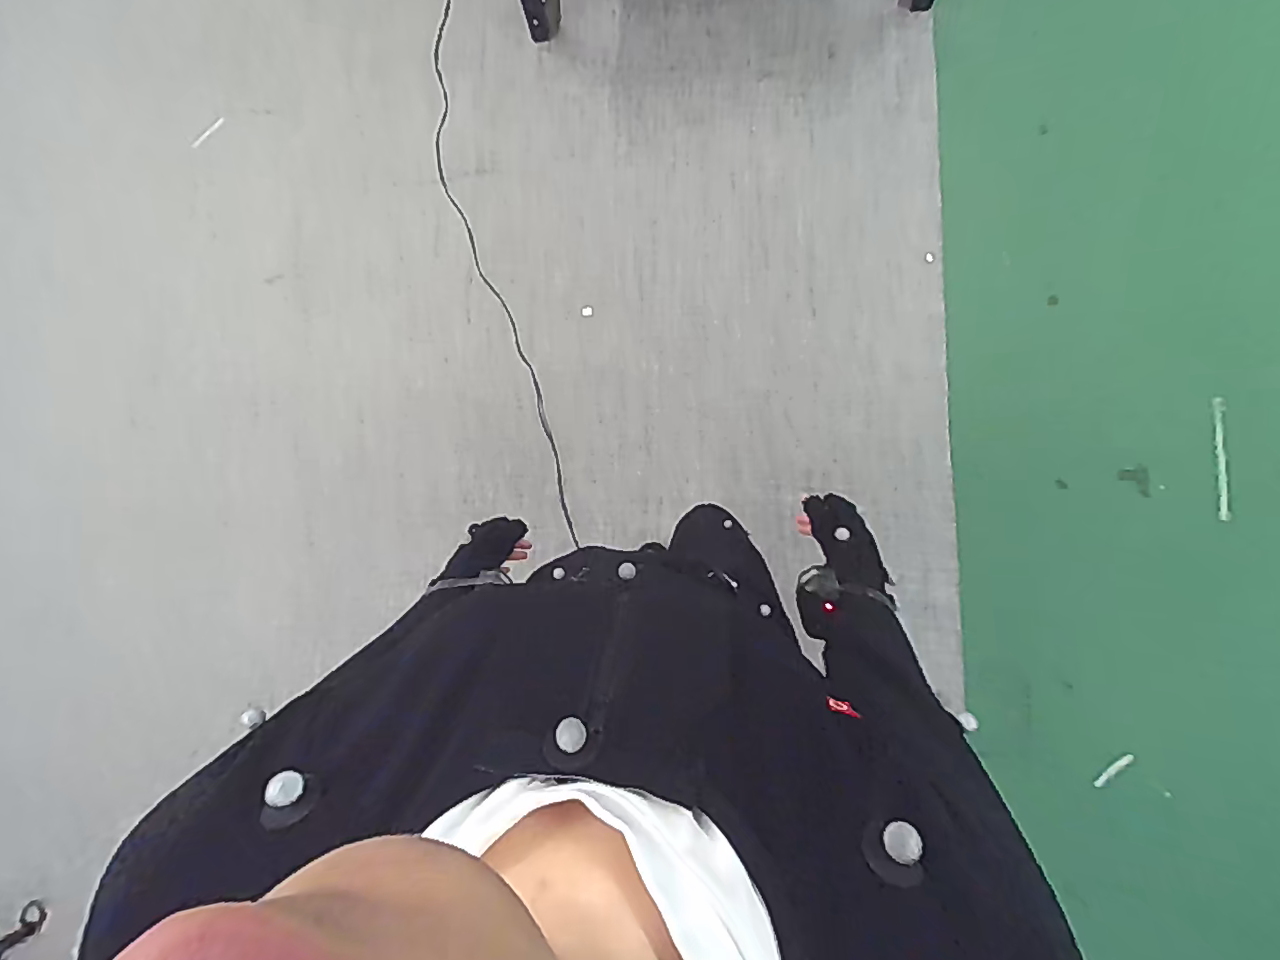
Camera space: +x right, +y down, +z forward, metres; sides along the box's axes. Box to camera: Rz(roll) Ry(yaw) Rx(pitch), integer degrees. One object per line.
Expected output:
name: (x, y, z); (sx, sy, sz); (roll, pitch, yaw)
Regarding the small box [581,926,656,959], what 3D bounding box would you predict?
small box: (-0.058, 1.202, 1.275); (0.179, 0.176, 0.168); (3, 84, 4)
